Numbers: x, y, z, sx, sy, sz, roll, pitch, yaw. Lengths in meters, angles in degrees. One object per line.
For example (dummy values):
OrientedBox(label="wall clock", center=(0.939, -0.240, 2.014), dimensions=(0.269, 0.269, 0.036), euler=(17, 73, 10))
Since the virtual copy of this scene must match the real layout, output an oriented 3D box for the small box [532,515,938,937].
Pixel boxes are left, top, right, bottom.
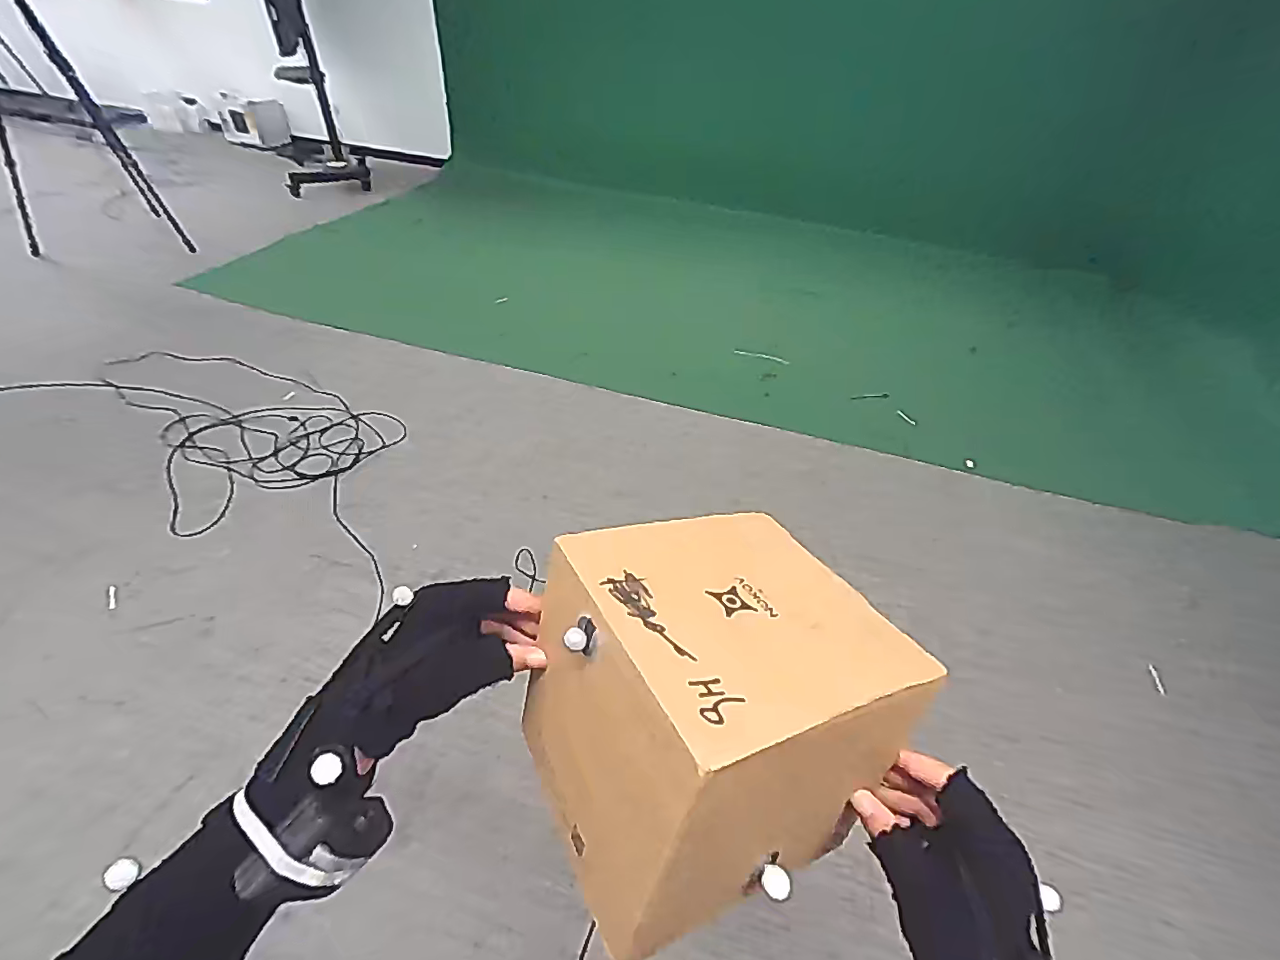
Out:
OrientedBox(label="small box", center=(0.044, 0.141, 0.359), dimensions=(0.179, 0.176, 0.168), euler=(-3, 30, -31))
